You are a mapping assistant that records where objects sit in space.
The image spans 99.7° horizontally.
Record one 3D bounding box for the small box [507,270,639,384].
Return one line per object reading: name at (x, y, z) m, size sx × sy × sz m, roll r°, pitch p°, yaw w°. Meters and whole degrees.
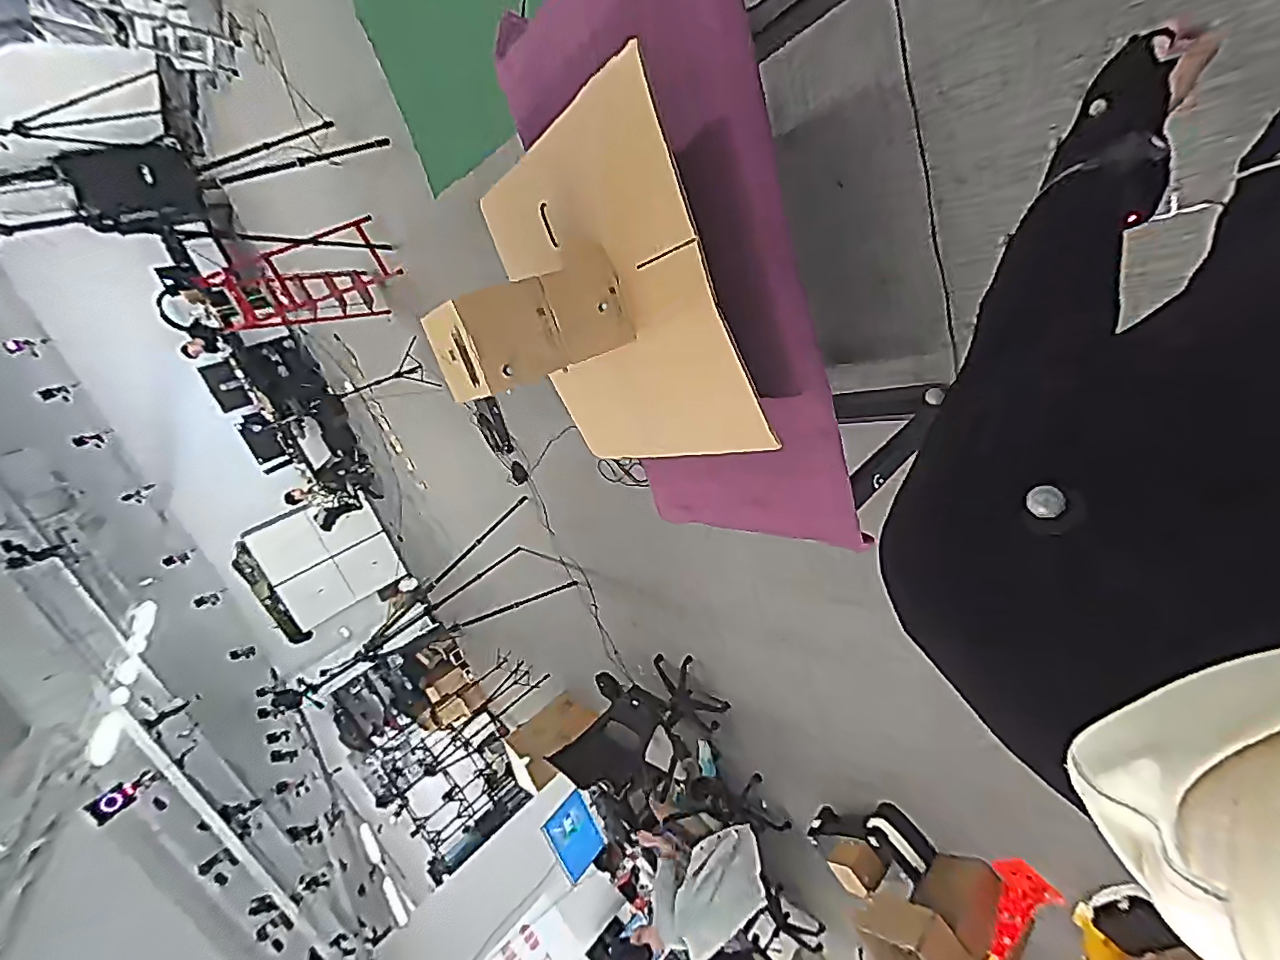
small box at (-0.131, -0.303, 1.084) m, size 0.179 × 0.176 × 0.168 m, roll 1°, pitch 116°, yaw 51°
